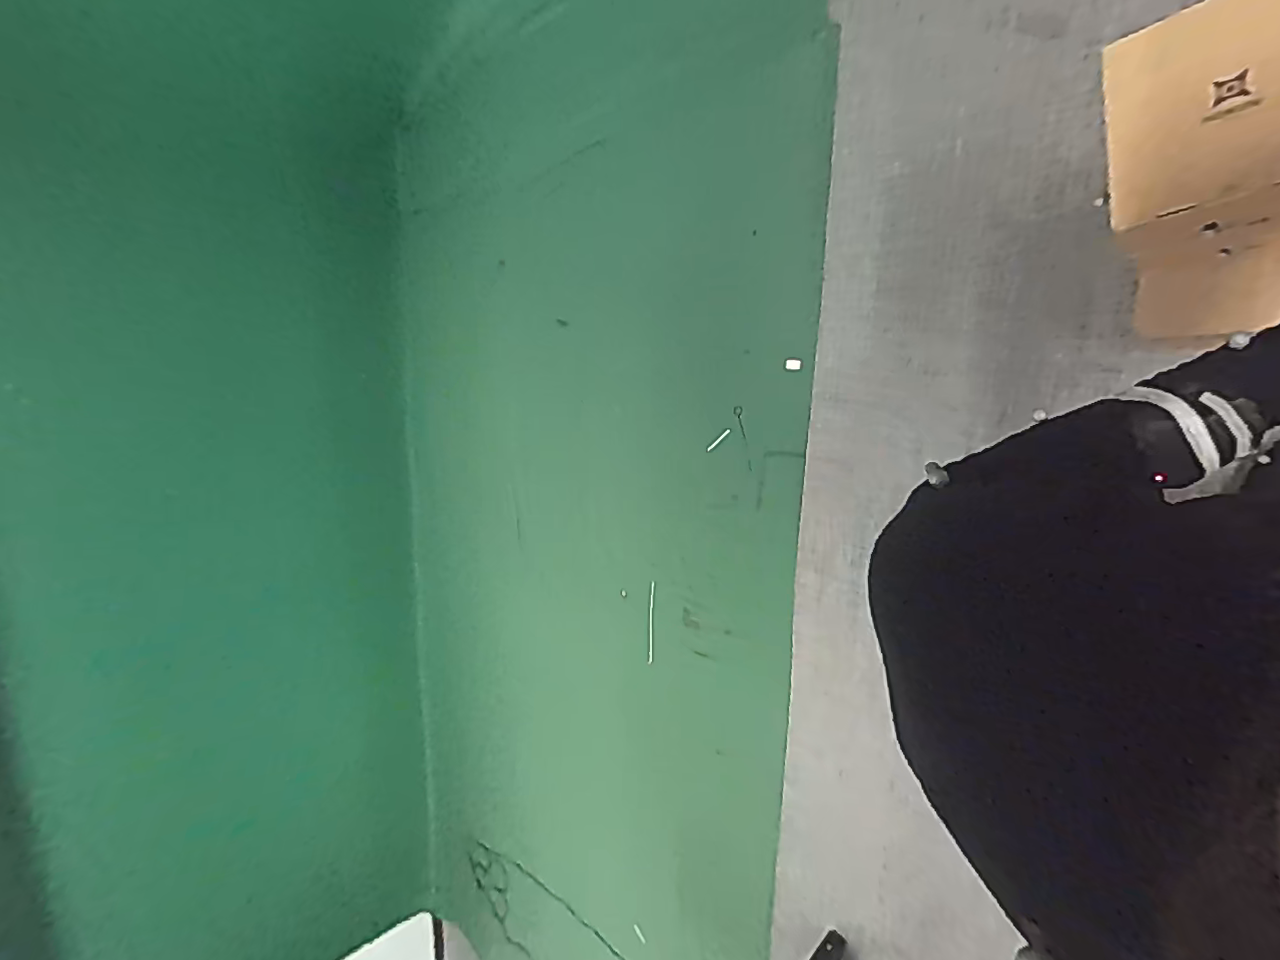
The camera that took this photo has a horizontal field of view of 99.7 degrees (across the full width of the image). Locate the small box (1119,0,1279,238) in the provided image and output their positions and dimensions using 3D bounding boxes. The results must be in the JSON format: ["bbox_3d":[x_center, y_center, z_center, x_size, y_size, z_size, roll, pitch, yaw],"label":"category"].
[{"bbox_3d":[0.579,-0.360,0.523,0.168,0.176,0.179,-2,97,45],"label":"small box"}]
